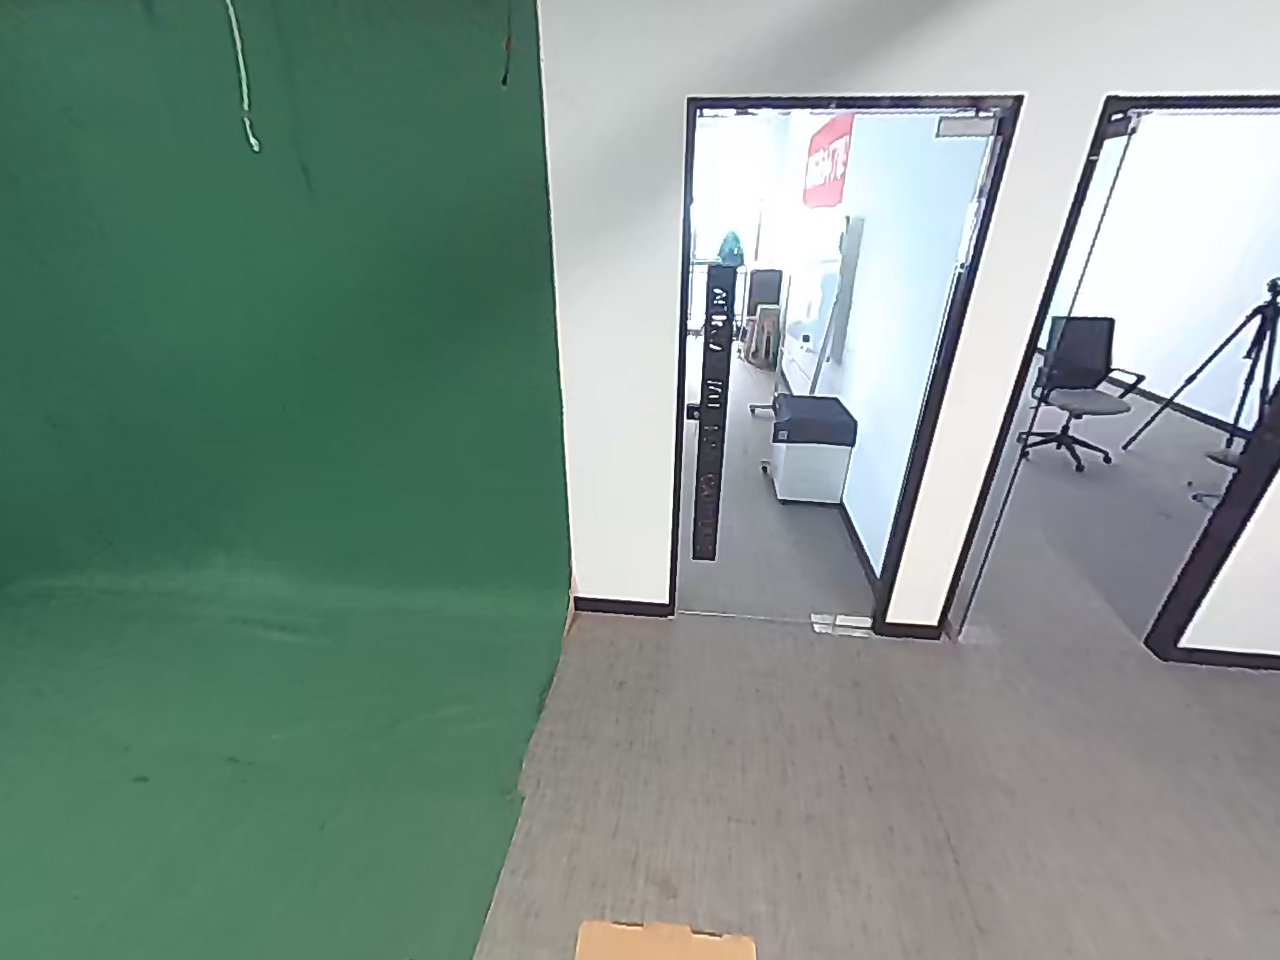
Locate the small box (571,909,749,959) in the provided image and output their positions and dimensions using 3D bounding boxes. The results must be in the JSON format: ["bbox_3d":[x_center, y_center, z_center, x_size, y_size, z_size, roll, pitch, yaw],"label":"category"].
[{"bbox_3d":[0.009,0.534,0.497,0.168,0.176,0.179,4,40,4],"label":"small box"}]
